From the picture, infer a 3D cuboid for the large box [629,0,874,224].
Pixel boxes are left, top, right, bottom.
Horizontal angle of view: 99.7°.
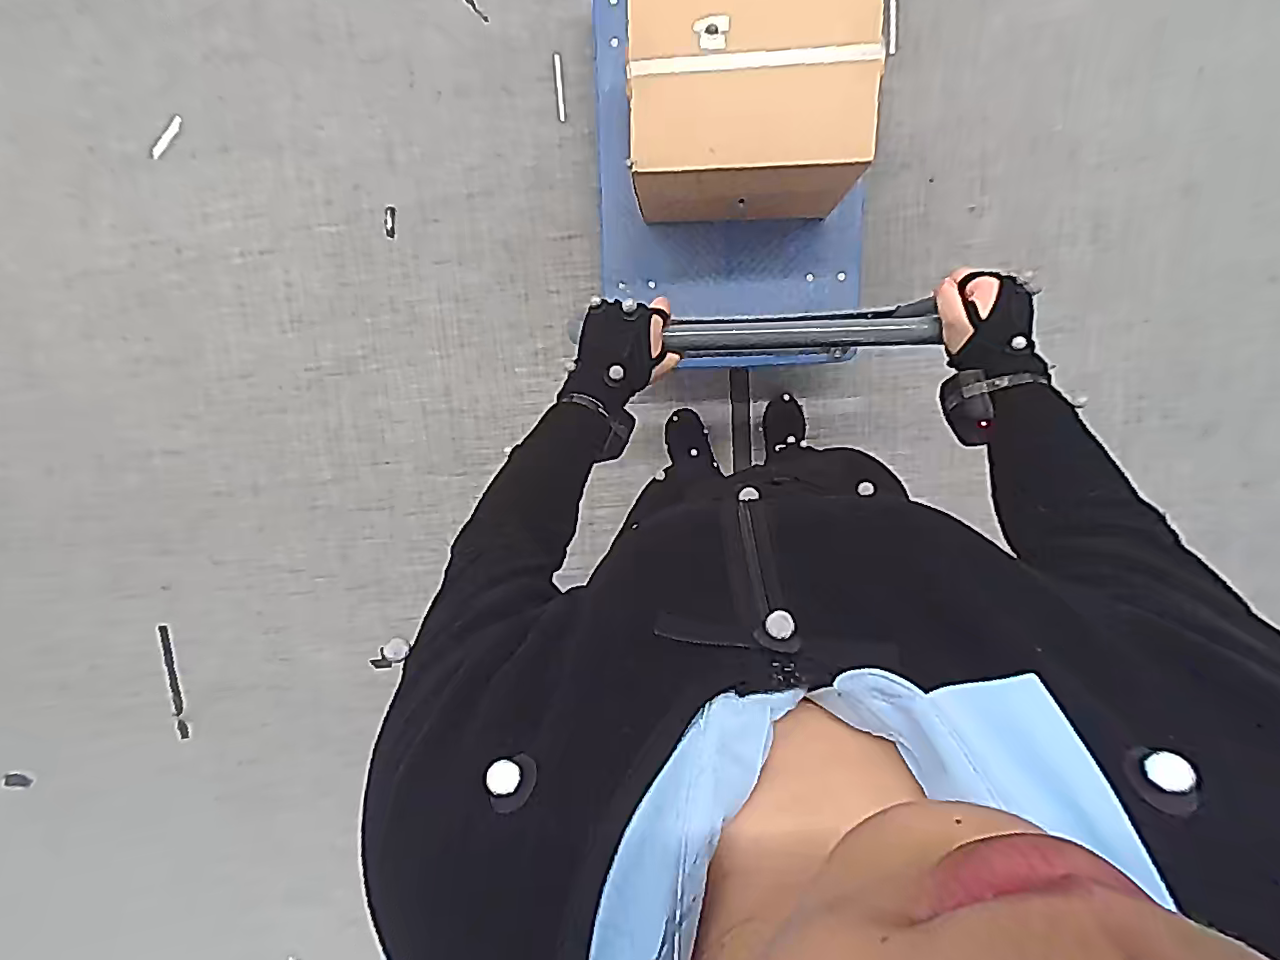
[{"bbox_3d":[0.199,-0.708,1.048,0.408,0.320,0.320,0,99,6],"label":"large box"}]
